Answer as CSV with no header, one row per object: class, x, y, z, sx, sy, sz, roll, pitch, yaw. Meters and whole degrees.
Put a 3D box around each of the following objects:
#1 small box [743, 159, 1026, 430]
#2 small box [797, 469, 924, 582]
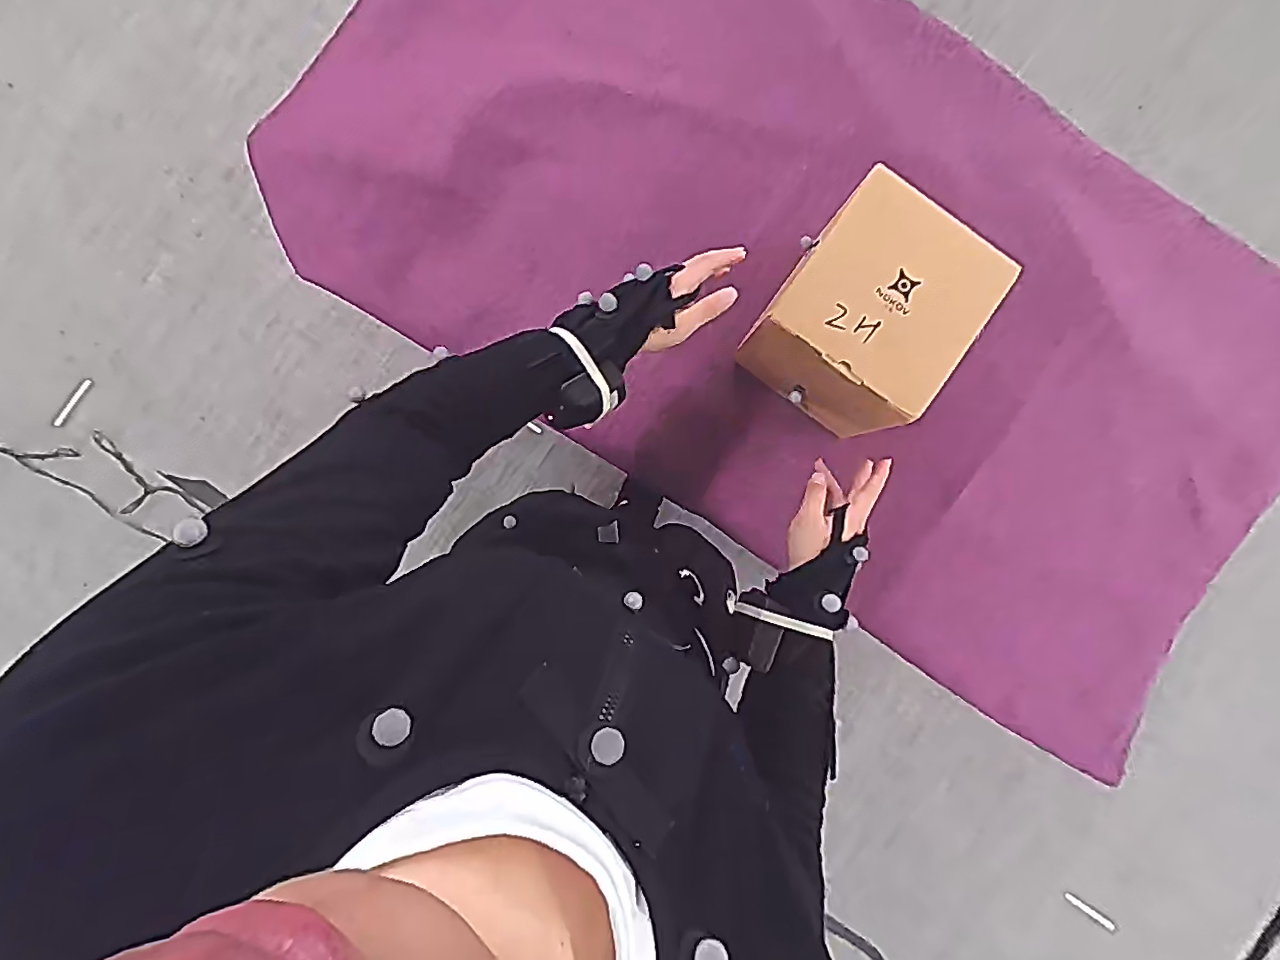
small box,0.228,-0.170,0.558,0.168,0.176,0.179,36,89,-1
small box,0.466,0.094,1.179,0.168,0.176,0.179,35,88,-1
